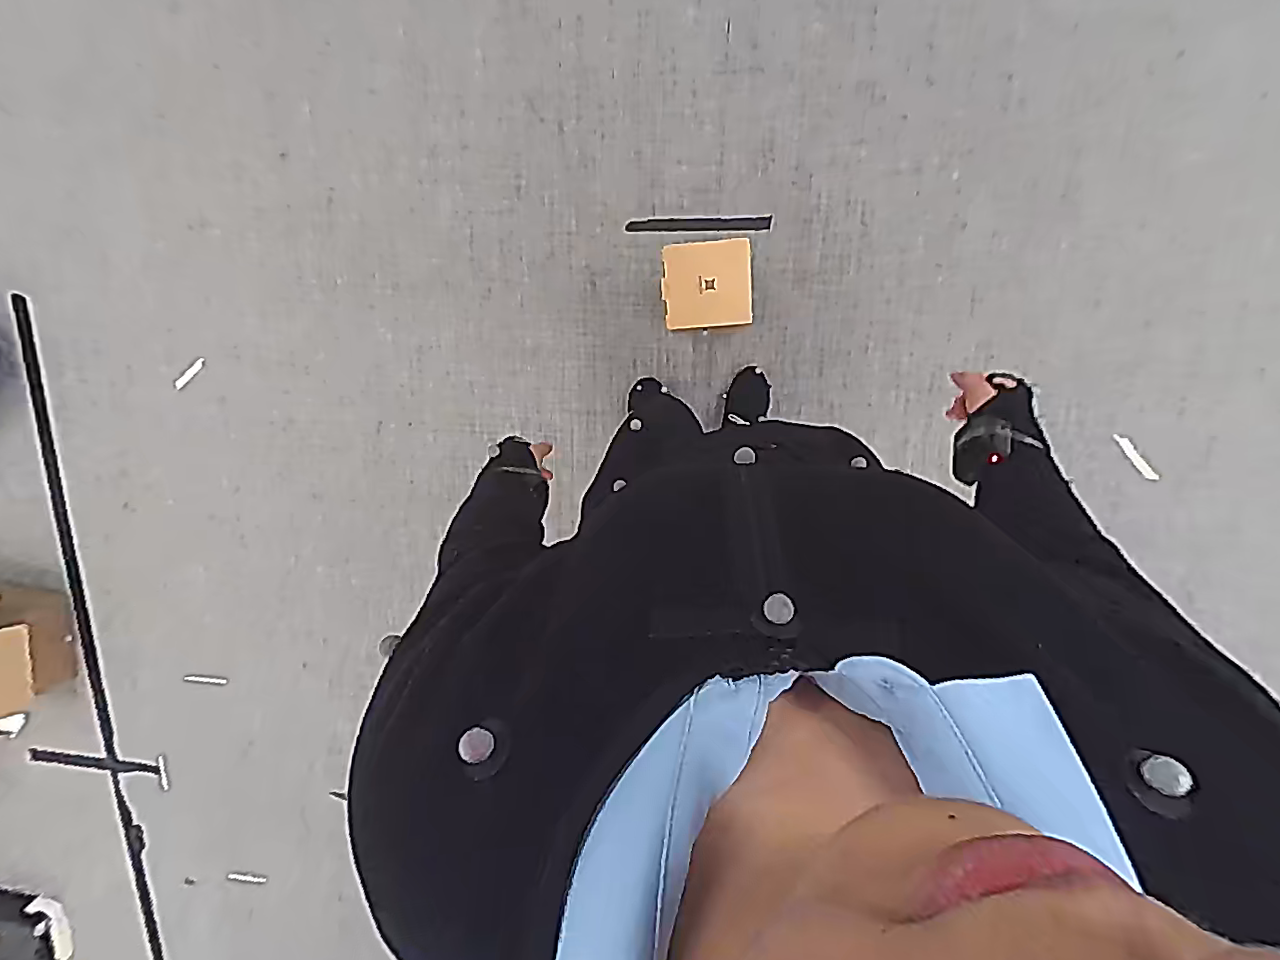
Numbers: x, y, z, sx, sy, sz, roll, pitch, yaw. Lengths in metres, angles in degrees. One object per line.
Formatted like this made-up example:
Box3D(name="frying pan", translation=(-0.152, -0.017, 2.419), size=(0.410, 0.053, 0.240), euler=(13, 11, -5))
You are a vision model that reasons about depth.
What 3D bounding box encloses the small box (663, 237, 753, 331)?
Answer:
Box3D(name="small box", translation=(0.145, -0.411, 1.159), size=(0.179, 0.176, 0.168), euler=(-3, 102, 8))
